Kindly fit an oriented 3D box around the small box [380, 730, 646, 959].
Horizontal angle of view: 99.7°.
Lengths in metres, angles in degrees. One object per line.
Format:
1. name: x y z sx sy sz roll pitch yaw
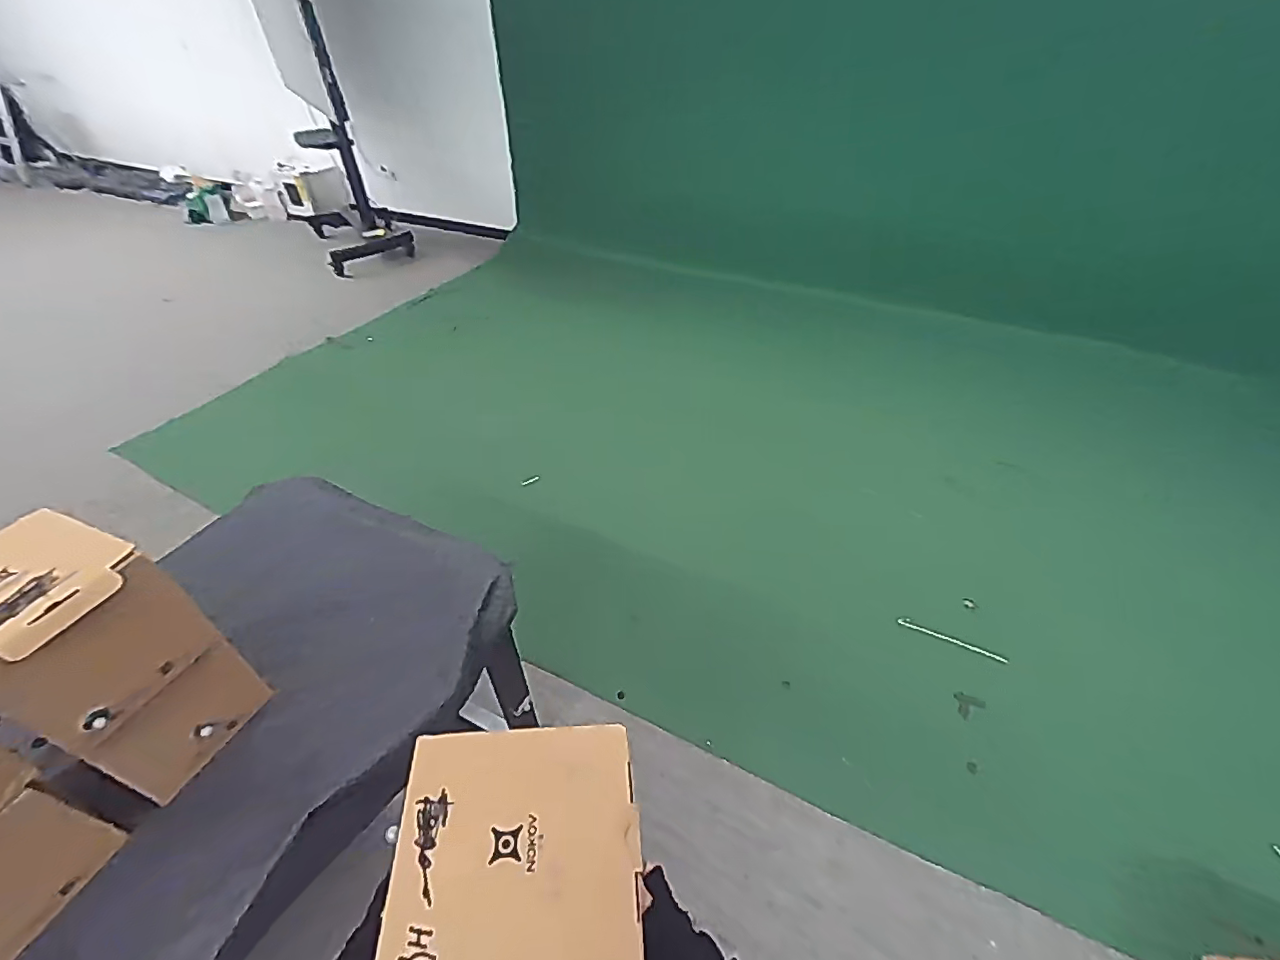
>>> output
1. small box: -0.095 0.327 0.458 0.179 0.176 0.168 2 44 -7
